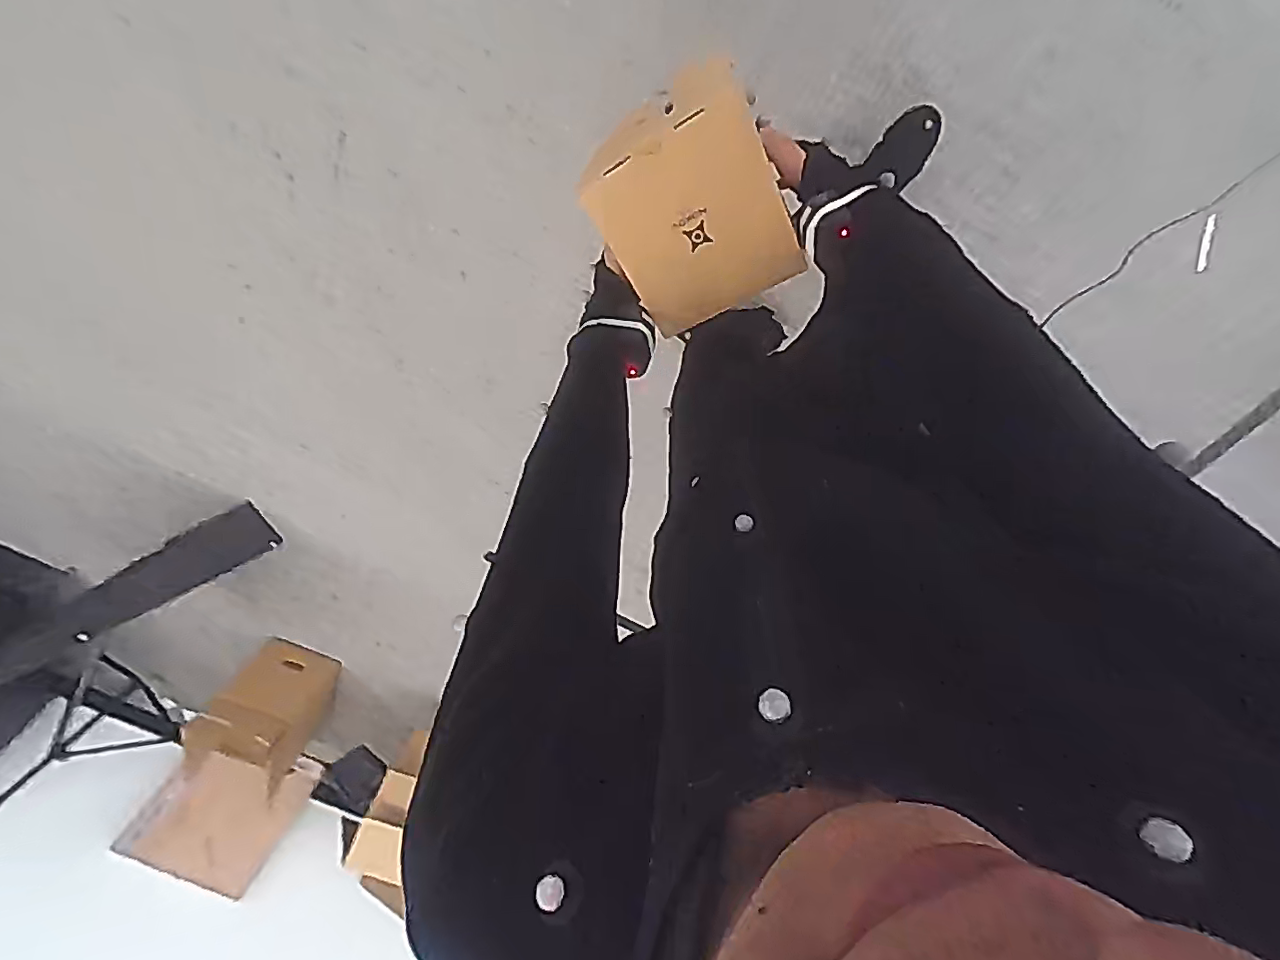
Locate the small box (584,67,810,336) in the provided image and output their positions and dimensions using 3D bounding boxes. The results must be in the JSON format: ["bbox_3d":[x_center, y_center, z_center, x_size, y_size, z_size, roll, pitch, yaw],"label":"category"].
[{"bbox_3d":[0.066,-0.292,0.572,0.168,0.176,0.179,-20,127,22],"label":"small box"}]
